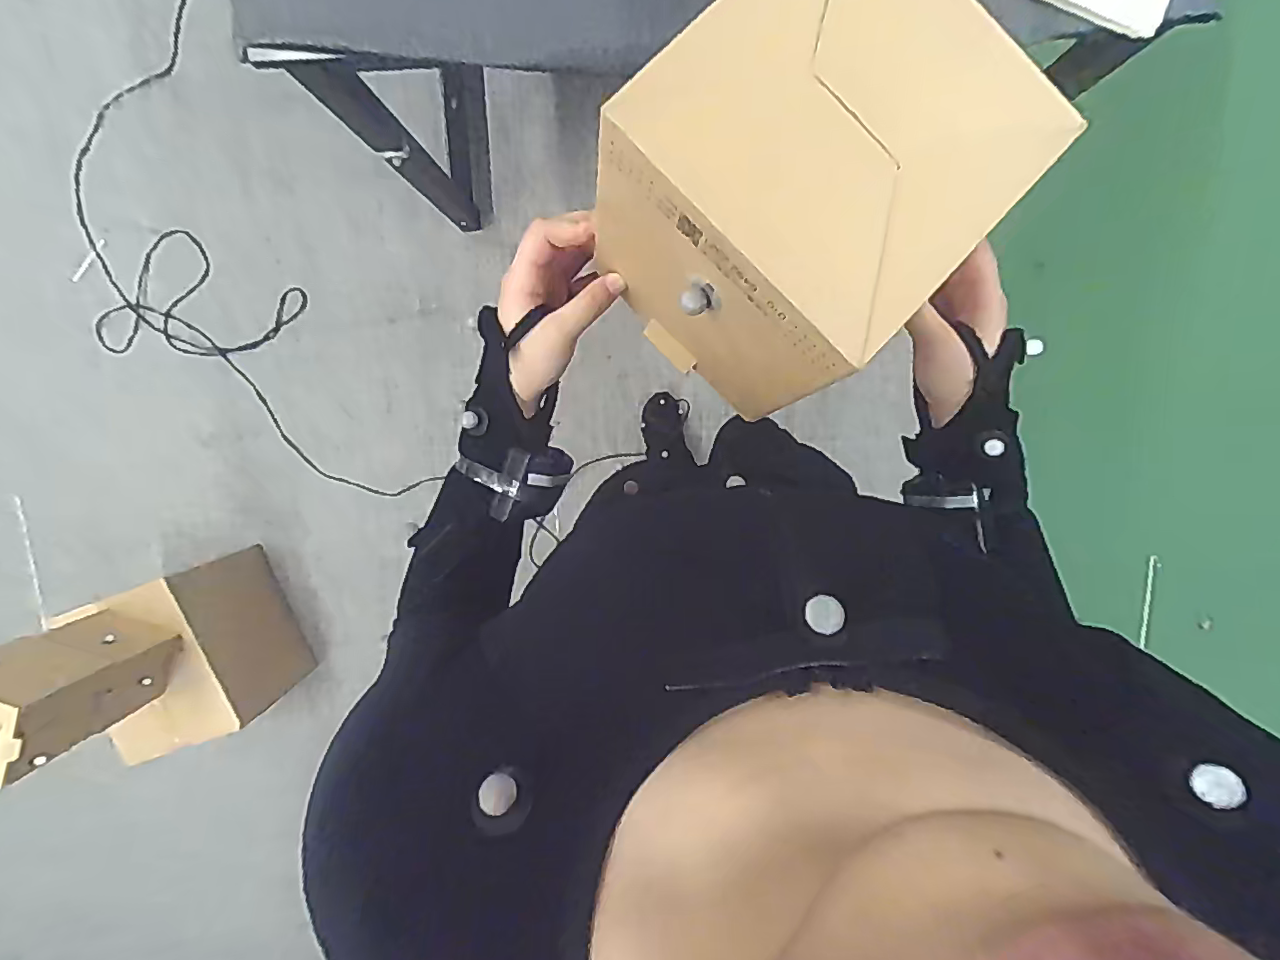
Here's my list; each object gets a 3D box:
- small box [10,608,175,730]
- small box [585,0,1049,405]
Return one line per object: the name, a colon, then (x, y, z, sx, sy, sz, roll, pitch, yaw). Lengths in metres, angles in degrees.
small box: (-1.168, 0.398, 1.168, 0.179, 0.176, 0.168, 20, 98, -4)
small box: (0.085, -0.172, 0.328, 0.168, 0.176, 0.179, 44, 84, -2)
